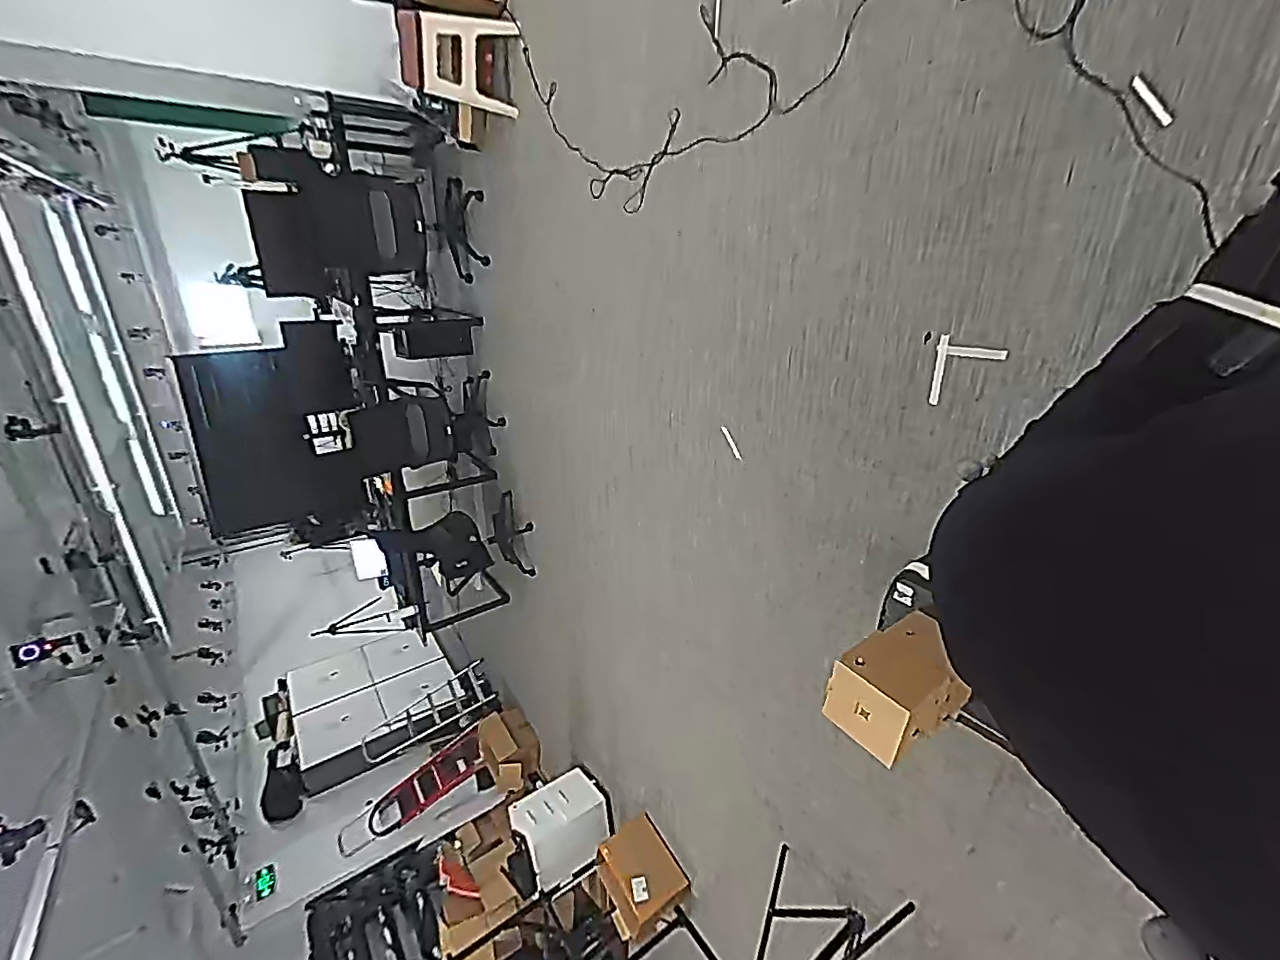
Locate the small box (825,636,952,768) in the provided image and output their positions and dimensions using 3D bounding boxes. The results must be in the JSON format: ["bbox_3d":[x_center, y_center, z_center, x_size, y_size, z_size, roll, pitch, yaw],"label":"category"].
[{"bbox_3d":[0.537,0.468,1.172,0.179,0.176,0.168,33,128,47],"label":"small box"}]
